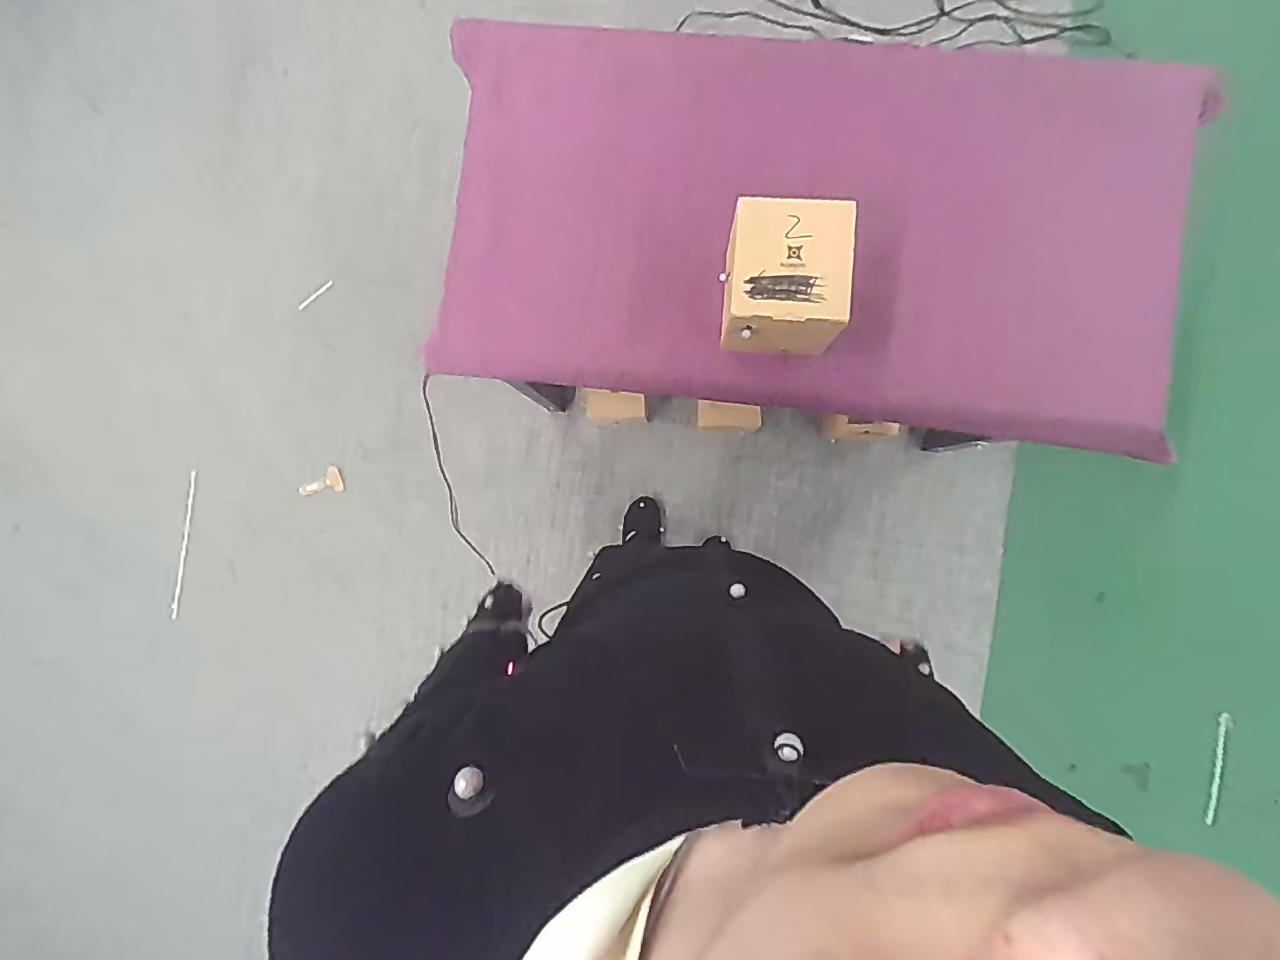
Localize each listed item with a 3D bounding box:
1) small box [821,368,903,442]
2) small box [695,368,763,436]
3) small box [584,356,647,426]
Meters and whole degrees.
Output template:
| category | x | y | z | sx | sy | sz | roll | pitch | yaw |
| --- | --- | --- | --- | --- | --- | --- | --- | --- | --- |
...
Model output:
| category | x | y | z | sx | sy | sz | roll | pitch | yaw |
| --- | --- | --- | --- | --- | --- | --- | --- | --- | --- |
| small box | 0.617 | -0.204 | 1.521 | 0.168 | 0.176 | 0.179 | 4 | 87 | 3 |
| small box | 0.249 | -0.220 | 1.546 | 0.179 | 0.176 | 0.168 | 0 | 87 | 4 |
| small box | -0.066 | -0.251 | 1.566 | 0.168 | 0.176 | 0.179 | -1 | 88 | 4 |
